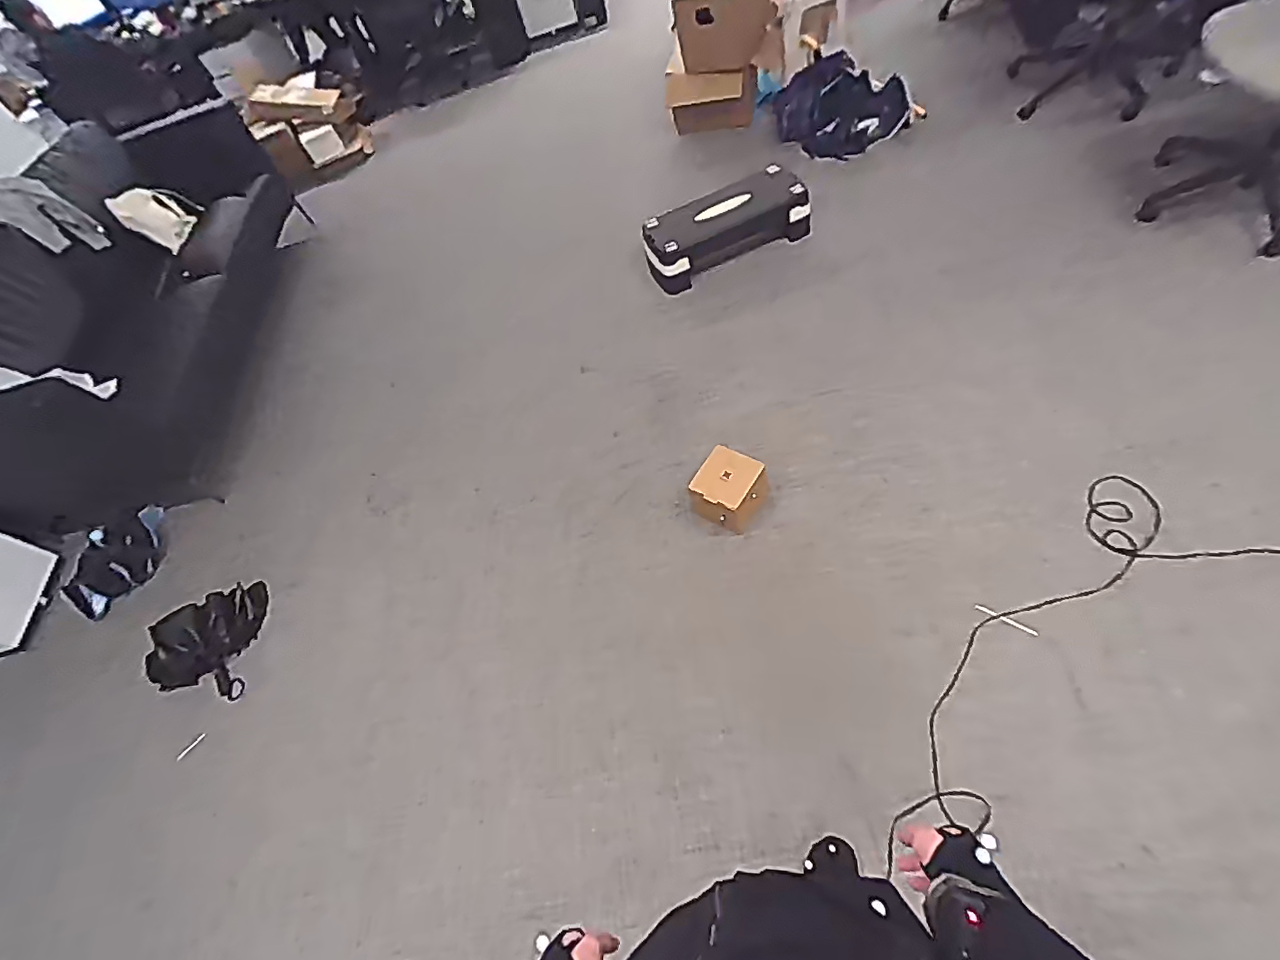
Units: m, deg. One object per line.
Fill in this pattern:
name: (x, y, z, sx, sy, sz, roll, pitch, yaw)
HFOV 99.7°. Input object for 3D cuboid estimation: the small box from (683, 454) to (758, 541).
small box: (0.255, 0.058, 1.658, 0.168, 0.176, 0.179, 26, 66, 27)
